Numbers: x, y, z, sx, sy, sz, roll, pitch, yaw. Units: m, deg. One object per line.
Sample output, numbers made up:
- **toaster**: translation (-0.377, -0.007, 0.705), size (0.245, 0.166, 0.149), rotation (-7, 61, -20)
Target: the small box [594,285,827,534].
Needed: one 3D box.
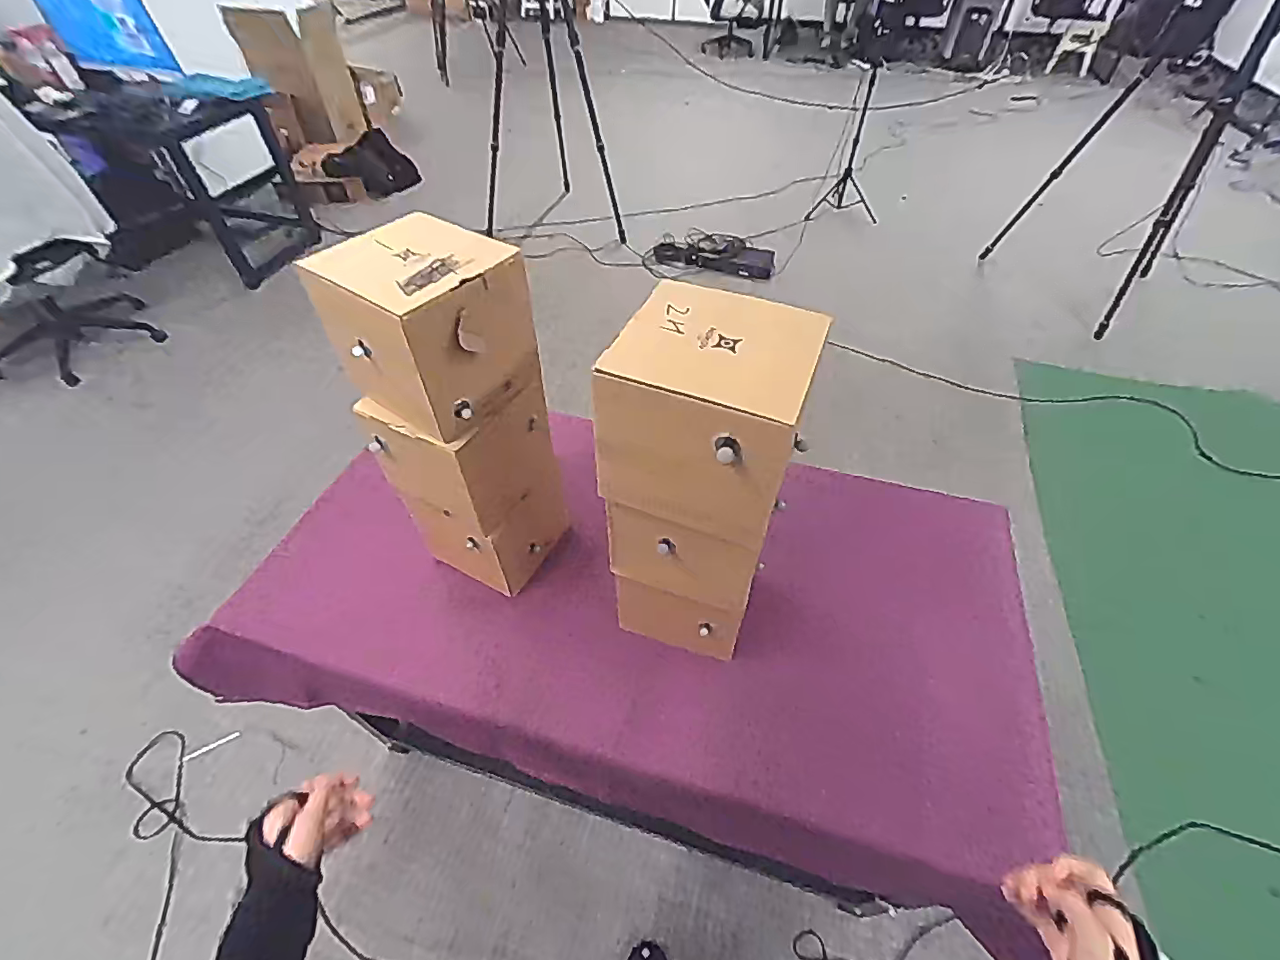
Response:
- **small box**: translation (0.069, -0.069, 0.555), size (0.179, 0.176, 0.168), rotation (18, 49, 15)

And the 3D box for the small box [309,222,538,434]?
- **small box**: translation (-0.244, -0.181, 0.655), size (0.179, 0.176, 0.168), rotation (27, 52, 23)

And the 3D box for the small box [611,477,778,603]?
- **small box**: translation (0.072, 0.031, 0.687), size (0.179, 0.176, 0.168), rotation (15, 50, 14)

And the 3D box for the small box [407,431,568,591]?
- **small box**: translation (-0.238, 0.054, 0.887), size (0.179, 0.176, 0.168), rotation (21, 52, 18)

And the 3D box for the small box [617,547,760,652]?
- **small box**: translation (0.076, 0.136, 0.813), size (0.179, 0.176, 0.168), rotation (14, 49, 13)
